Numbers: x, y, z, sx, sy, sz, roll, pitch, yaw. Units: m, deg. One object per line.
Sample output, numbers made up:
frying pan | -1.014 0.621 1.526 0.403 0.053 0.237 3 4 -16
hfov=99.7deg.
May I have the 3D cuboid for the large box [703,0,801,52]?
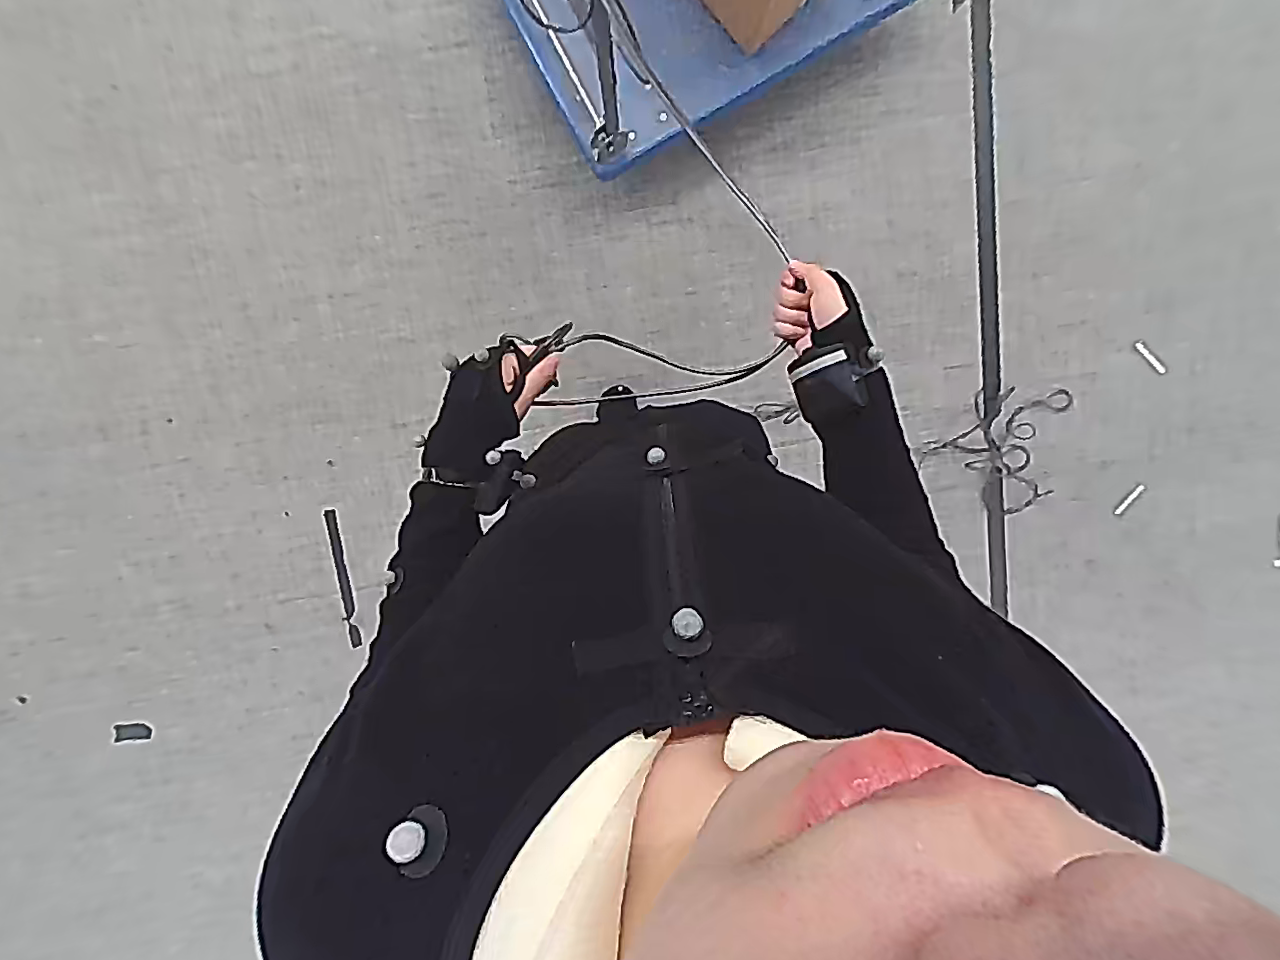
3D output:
large box | 0.208 -1.133 0.978 0.320 0.320 0.408 -44 99 6
